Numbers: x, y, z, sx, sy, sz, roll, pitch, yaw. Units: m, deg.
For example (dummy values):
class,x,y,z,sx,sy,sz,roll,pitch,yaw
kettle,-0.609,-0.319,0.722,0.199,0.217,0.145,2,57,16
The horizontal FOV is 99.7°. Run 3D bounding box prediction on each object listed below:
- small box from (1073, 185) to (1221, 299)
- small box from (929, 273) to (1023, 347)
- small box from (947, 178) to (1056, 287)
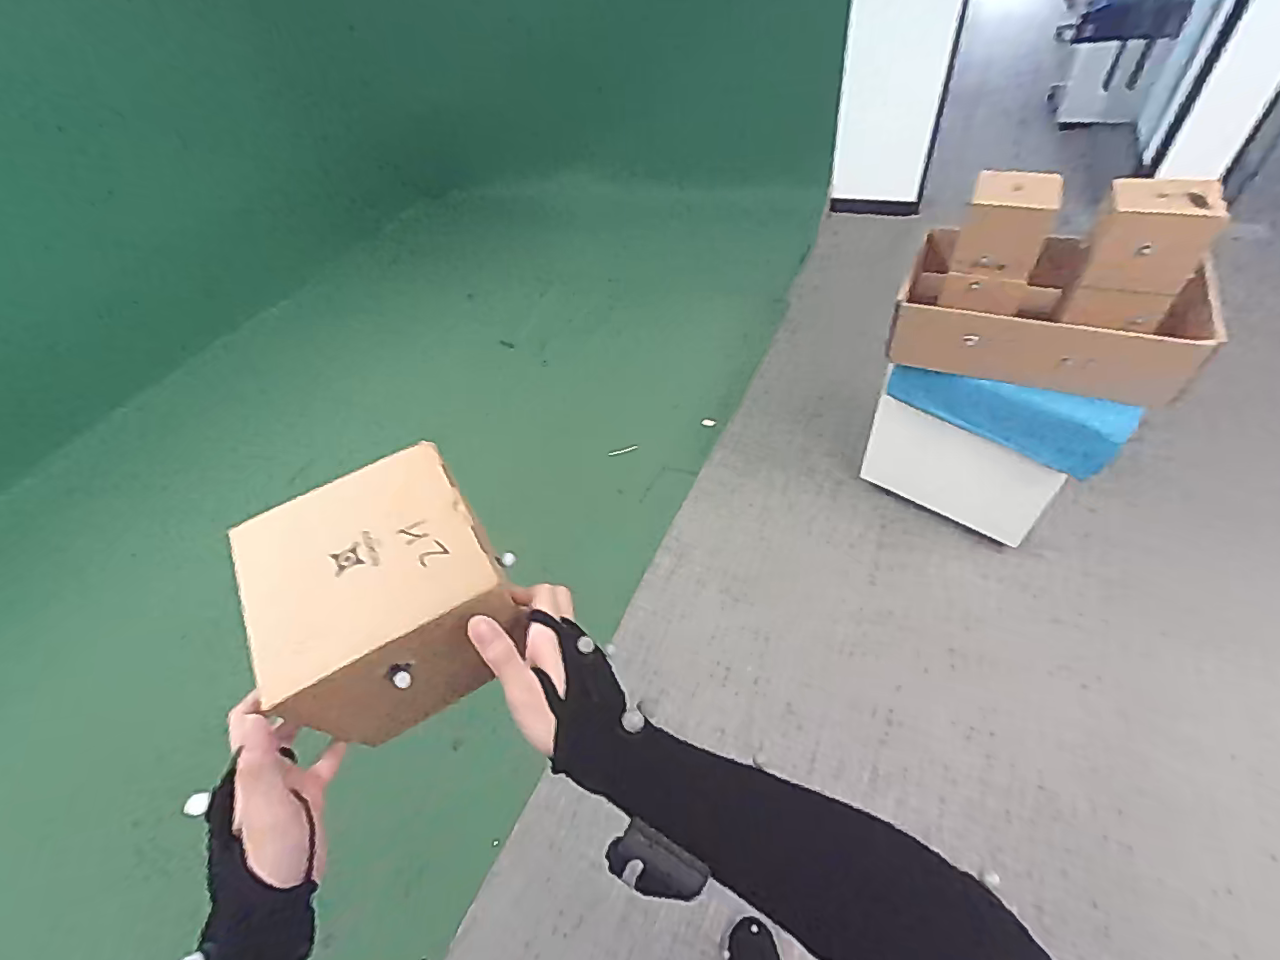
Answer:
class,x,y,z,sx,sy,sz,roll,pitch,yaw
small box,1.070,-0.507,1.156,0.179,0.176,0.168,16,53,24
small box,0.859,-0.469,1.383,0.168,0.176,0.179,17,53,23
small box,0.839,-0.580,1.265,0.168,0.176,0.179,17,54,23
